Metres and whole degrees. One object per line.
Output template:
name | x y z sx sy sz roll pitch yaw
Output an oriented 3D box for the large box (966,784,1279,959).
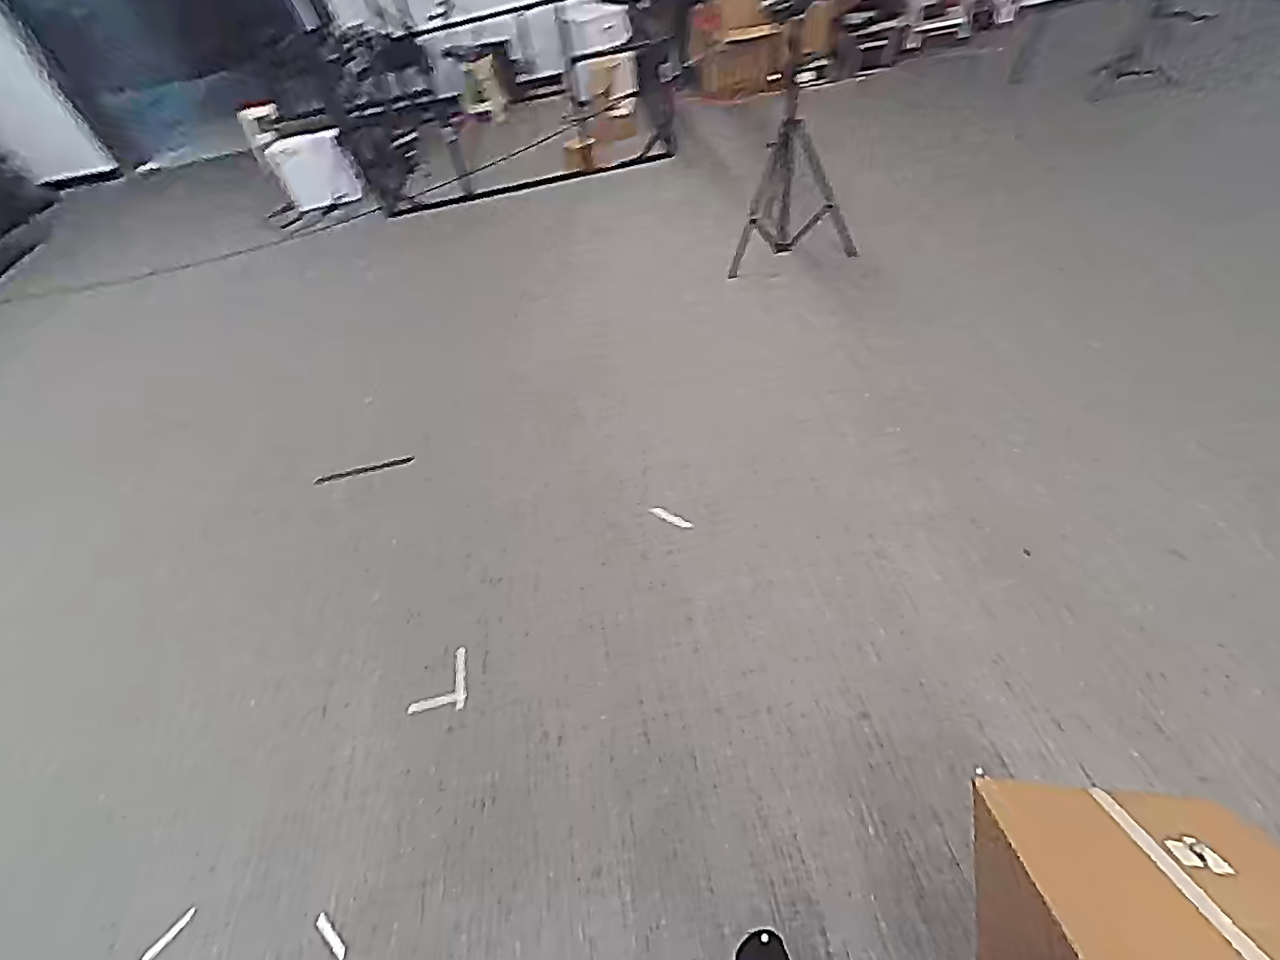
large box | 0.611 0.617 0.609 0.320 0.408 0.320 0 90 14
